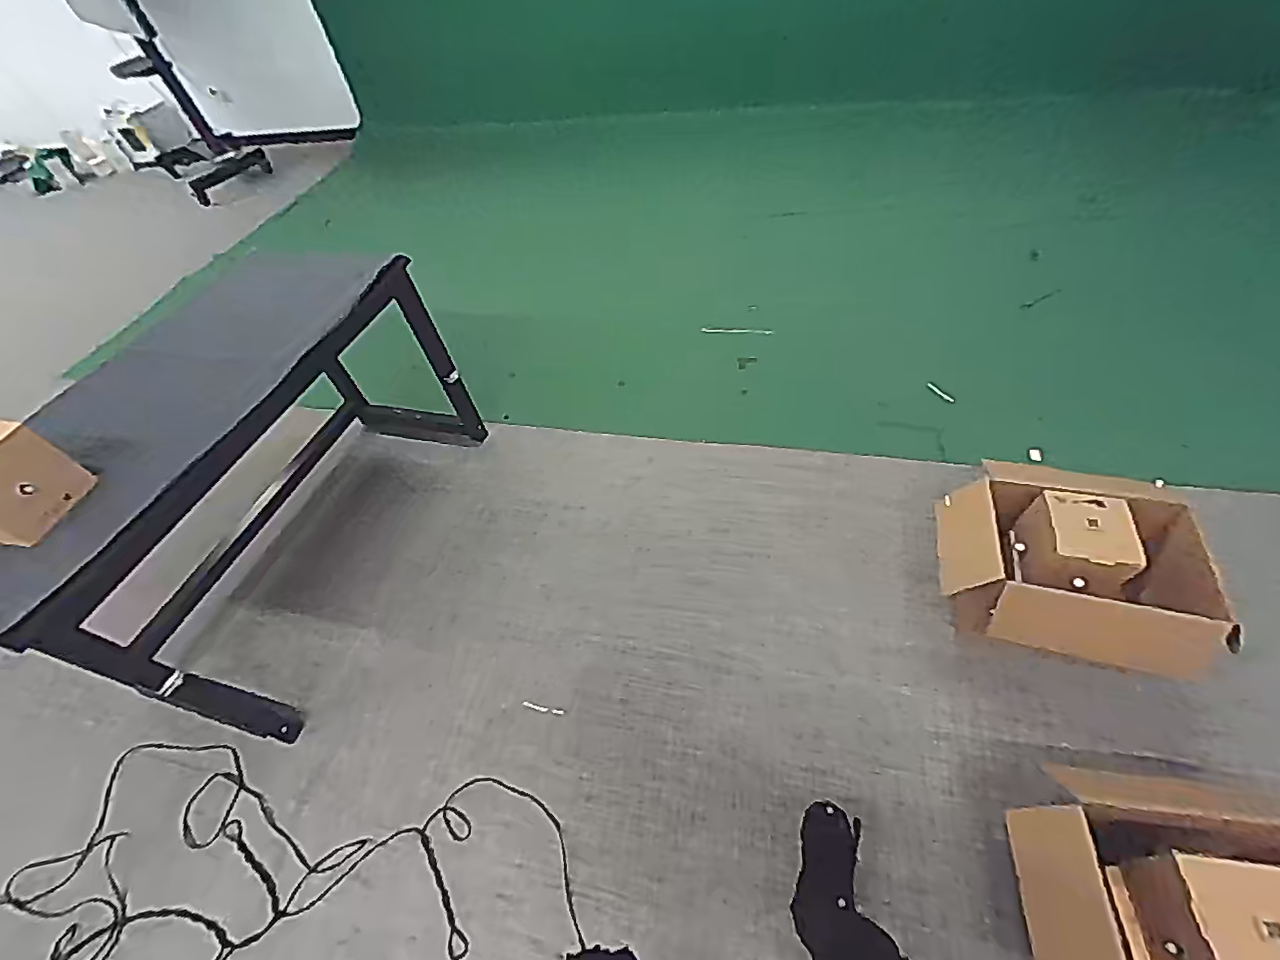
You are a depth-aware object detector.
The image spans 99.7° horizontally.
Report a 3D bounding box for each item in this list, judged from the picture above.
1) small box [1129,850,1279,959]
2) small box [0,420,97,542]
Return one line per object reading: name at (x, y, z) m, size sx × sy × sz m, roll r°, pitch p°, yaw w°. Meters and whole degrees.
small box at (0.911, 0.690, 0.834) m, size 0.179 × 0.176 × 0.168 m, roll 1°, pitch 52°, yaw 12°
small box at (-1.212, 0.001, 1.020) m, size 0.179 × 0.176 × 0.168 m, roll 4°, pitch 51°, yaw 13°
